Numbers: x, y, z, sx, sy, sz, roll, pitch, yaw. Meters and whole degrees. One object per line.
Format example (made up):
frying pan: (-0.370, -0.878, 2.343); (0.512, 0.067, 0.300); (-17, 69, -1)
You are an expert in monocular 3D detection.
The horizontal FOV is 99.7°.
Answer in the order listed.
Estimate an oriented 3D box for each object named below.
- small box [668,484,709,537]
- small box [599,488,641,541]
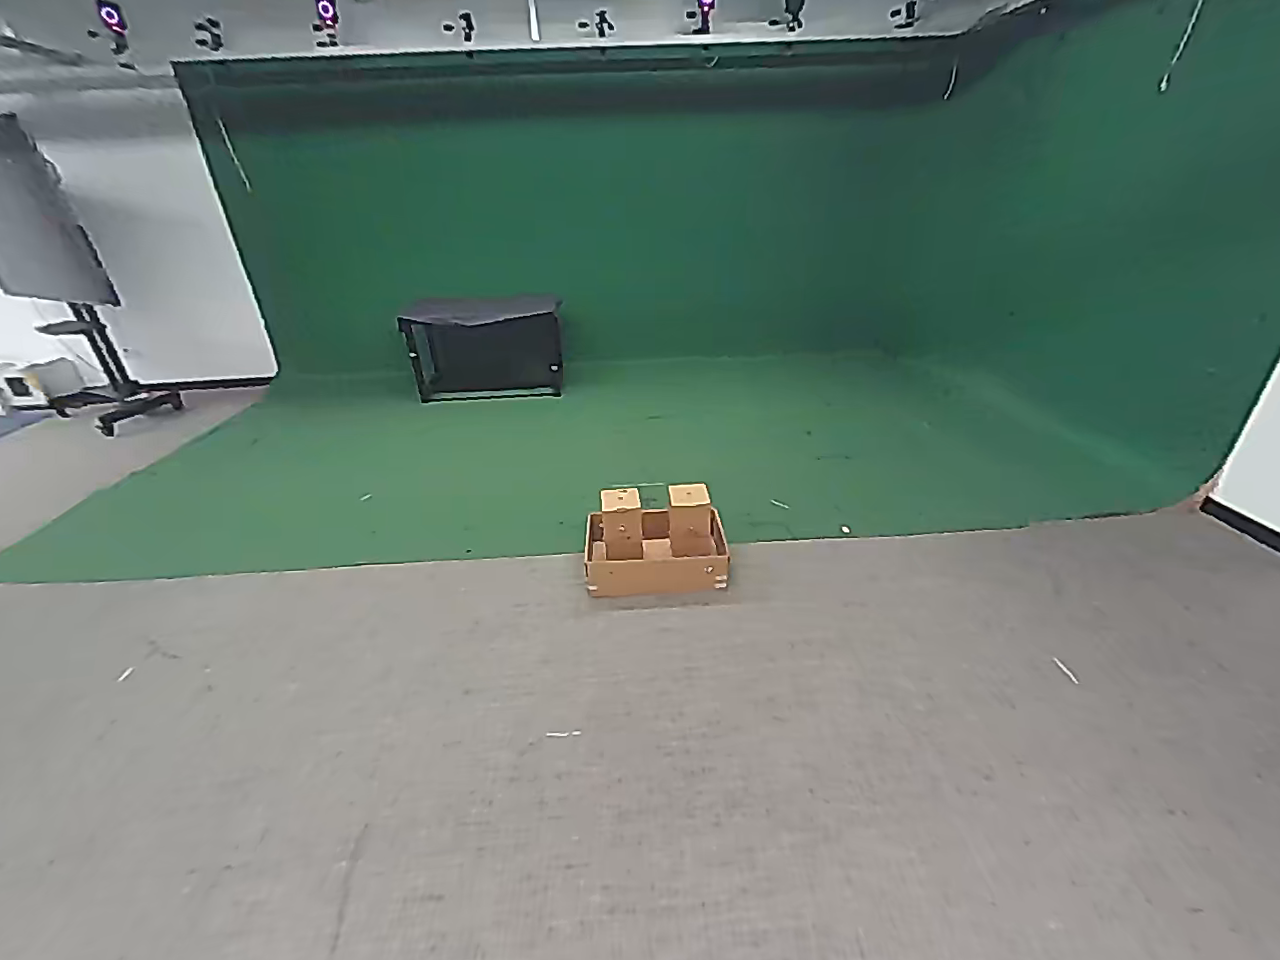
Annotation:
small box: (0.208, 0.134, 2.372); (0.168, 0.176, 0.179); (-4, 30, -1)
small box: (-0.088, 0.156, 2.356); (0.168, 0.176, 0.179); (-4, 30, -4)
